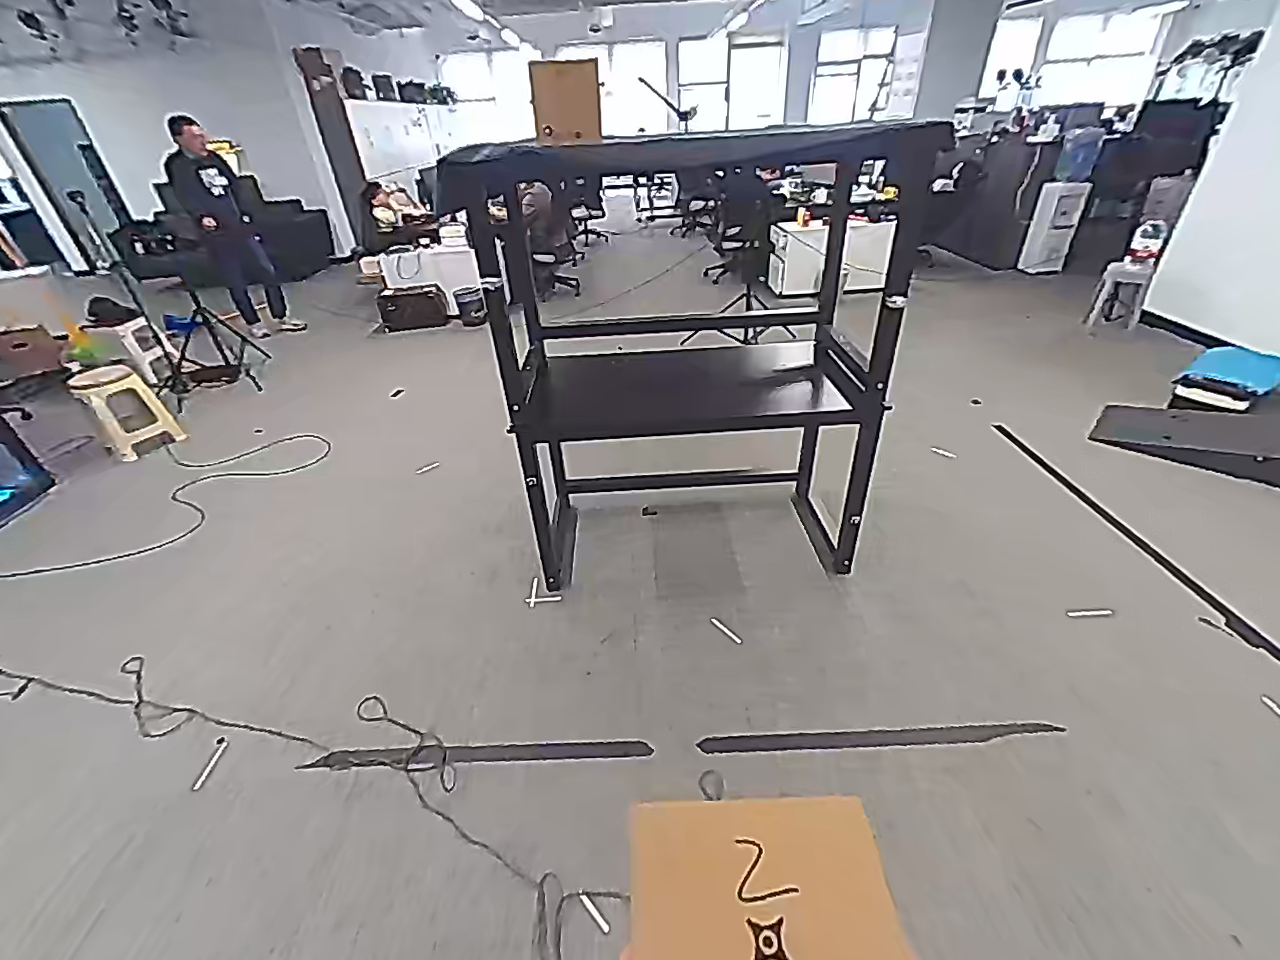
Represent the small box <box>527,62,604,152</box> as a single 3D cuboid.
[{"bbox_3d":[-0.178,-0.919,1.342,0.168,0.176,0.179,-4,32,-3],"label":"small box"}]
